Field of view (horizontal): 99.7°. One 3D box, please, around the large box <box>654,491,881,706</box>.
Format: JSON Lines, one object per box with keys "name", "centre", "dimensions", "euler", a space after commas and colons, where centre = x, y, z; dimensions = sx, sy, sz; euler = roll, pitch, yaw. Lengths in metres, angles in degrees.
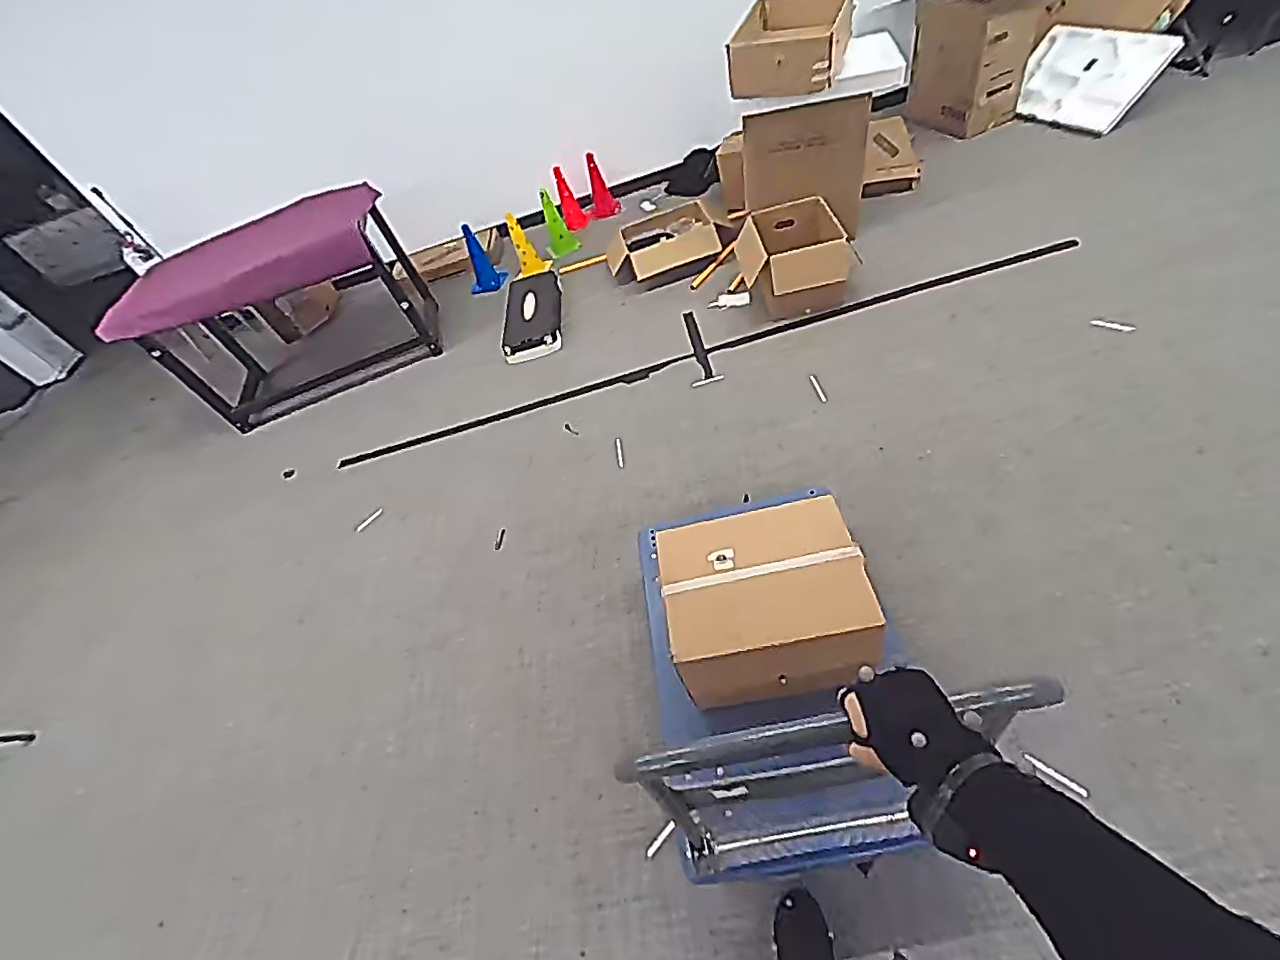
{"name": "large box", "centre": [0.276, 0.278, 1.218], "dimensions": [0.408, 0.320, 0.320], "euler": [-14, 47, 8]}
